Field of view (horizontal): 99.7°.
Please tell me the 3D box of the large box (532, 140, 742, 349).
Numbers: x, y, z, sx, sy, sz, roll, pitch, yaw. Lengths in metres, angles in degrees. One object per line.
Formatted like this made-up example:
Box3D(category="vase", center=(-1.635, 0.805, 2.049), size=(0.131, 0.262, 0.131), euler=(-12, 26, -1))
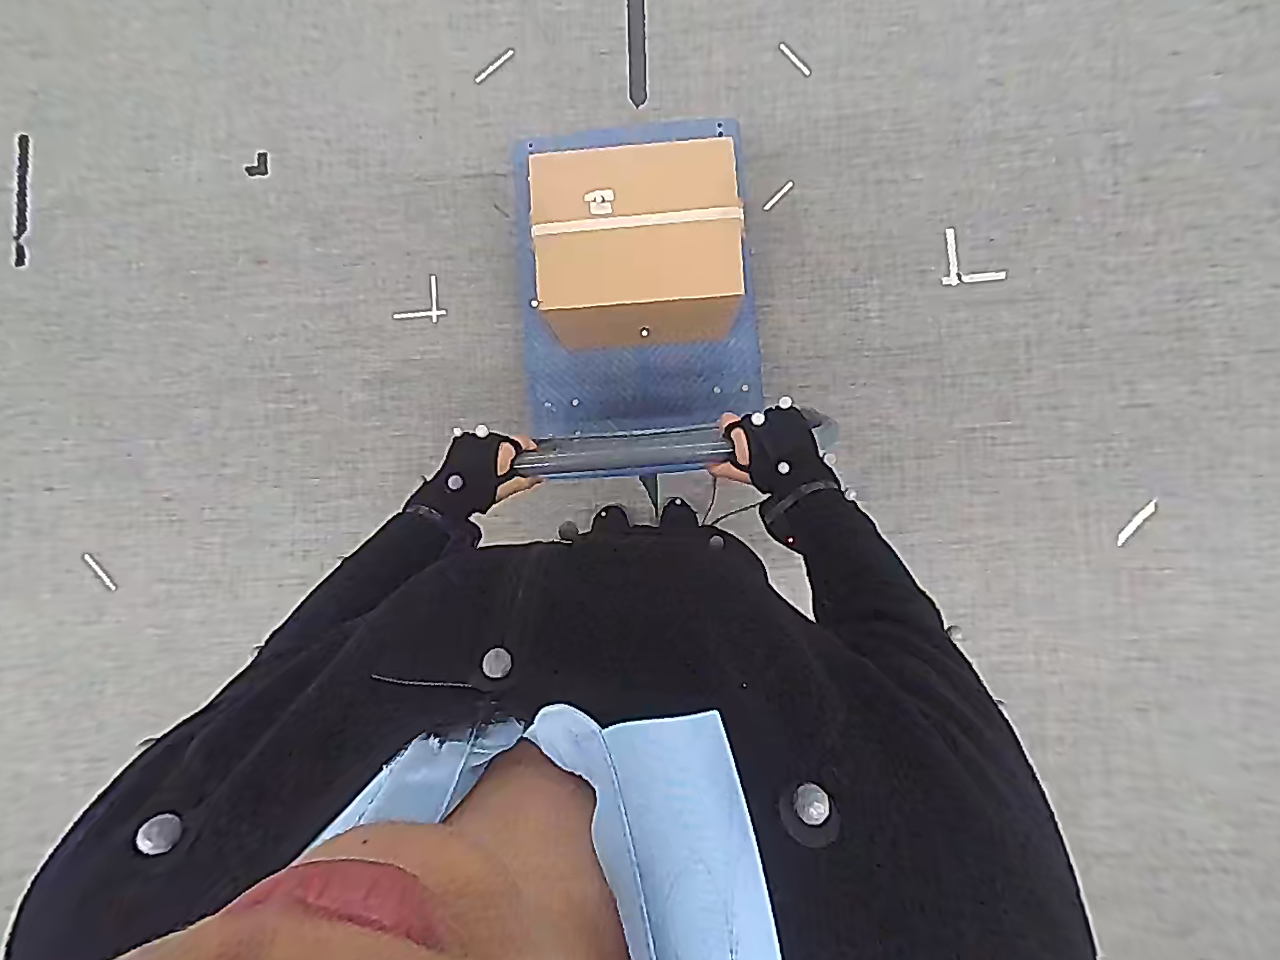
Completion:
Box3D(category="large box", center=(0.001, -0.501, 1.221), size=(0.408, 0.320, 0.320), euler=(-4, 87, 3))
